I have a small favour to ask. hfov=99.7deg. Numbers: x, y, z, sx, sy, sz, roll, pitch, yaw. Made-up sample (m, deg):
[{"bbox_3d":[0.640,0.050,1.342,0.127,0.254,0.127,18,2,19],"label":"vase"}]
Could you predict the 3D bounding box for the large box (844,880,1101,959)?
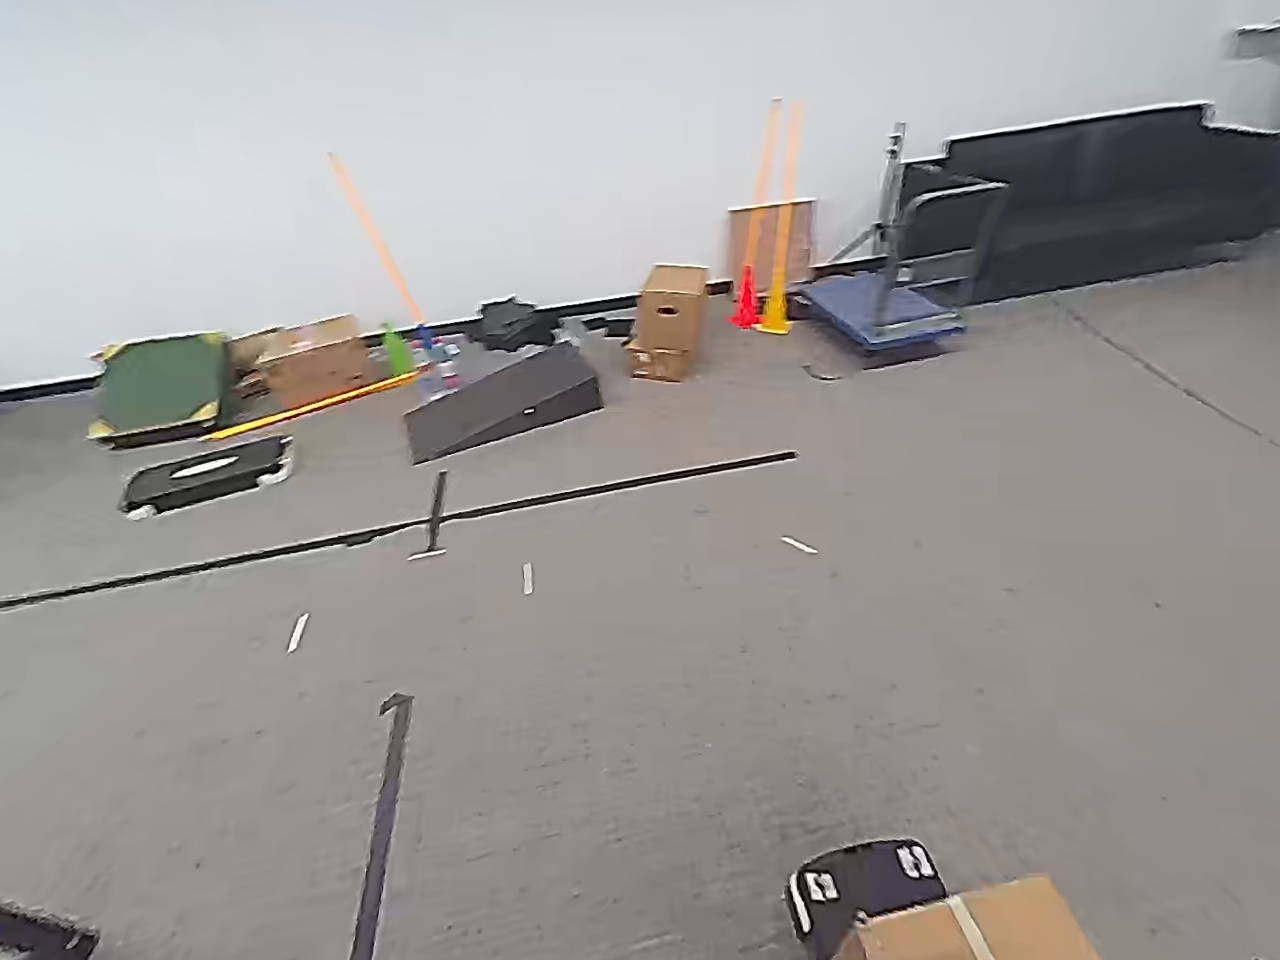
[{"bbox_3d":[0.521,0.868,0.744,0.320,0.320,0.408,-10,38,-5],"label":"large box"}]
